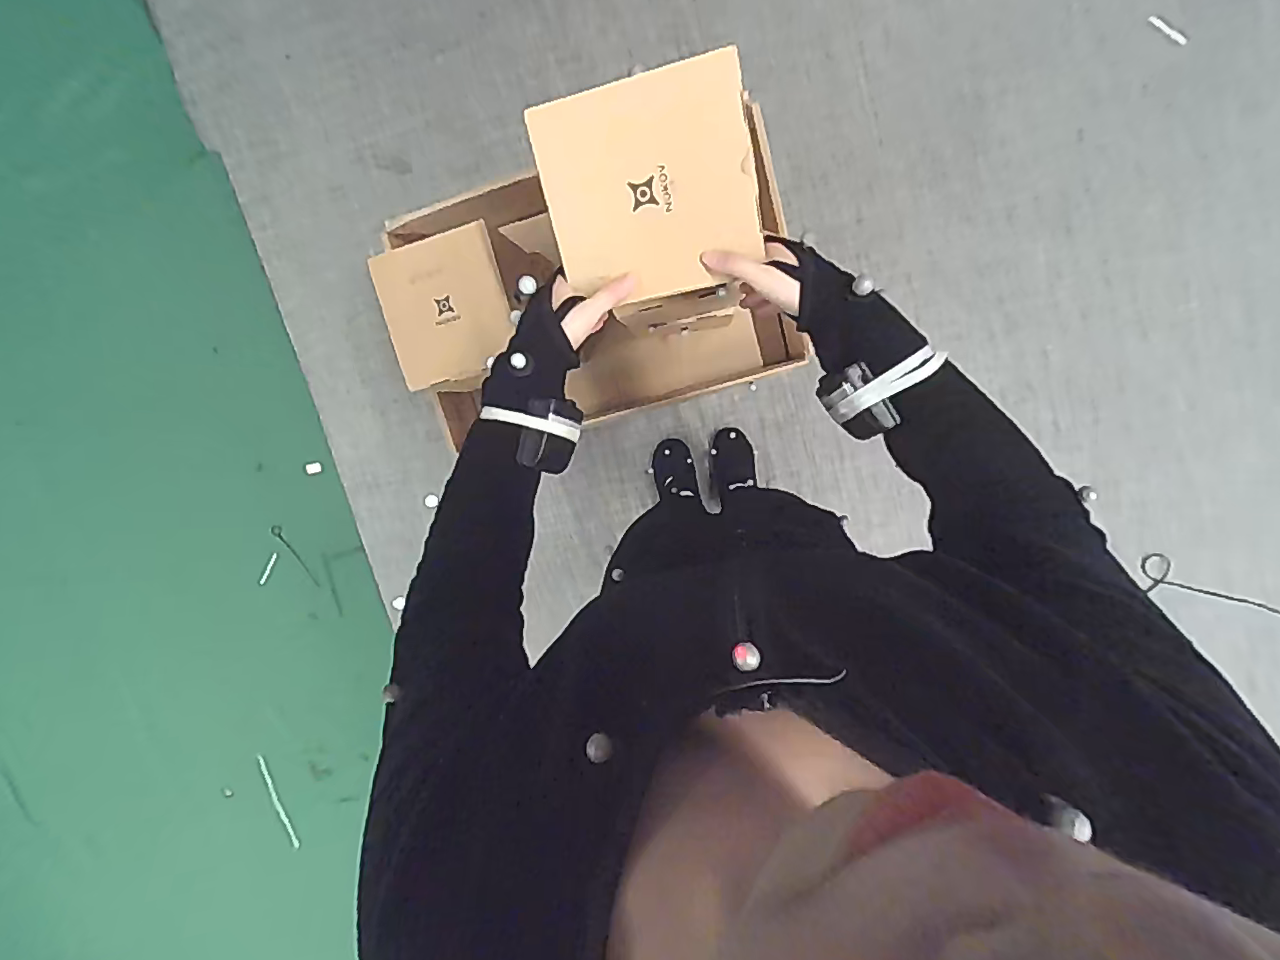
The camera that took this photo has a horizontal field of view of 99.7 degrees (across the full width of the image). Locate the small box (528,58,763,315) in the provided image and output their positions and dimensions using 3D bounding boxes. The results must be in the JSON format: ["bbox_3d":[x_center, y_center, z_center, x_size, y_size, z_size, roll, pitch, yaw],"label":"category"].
[{"bbox_3d":[0.015,-0.264,0.530,0.179,0.176,0.168,-11,109,9],"label":"small box"}]

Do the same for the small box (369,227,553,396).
[{"bbox_3d":[-0.236,-0.224,0.762,0.168,0.176,0.179,-13,97,8],"label":"small box"}]

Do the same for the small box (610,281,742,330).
[{"bbox_3d":[0.037,-0.304,0.716,0.168,0.176,0.179,-11,97,8],"label":"small box"}]
